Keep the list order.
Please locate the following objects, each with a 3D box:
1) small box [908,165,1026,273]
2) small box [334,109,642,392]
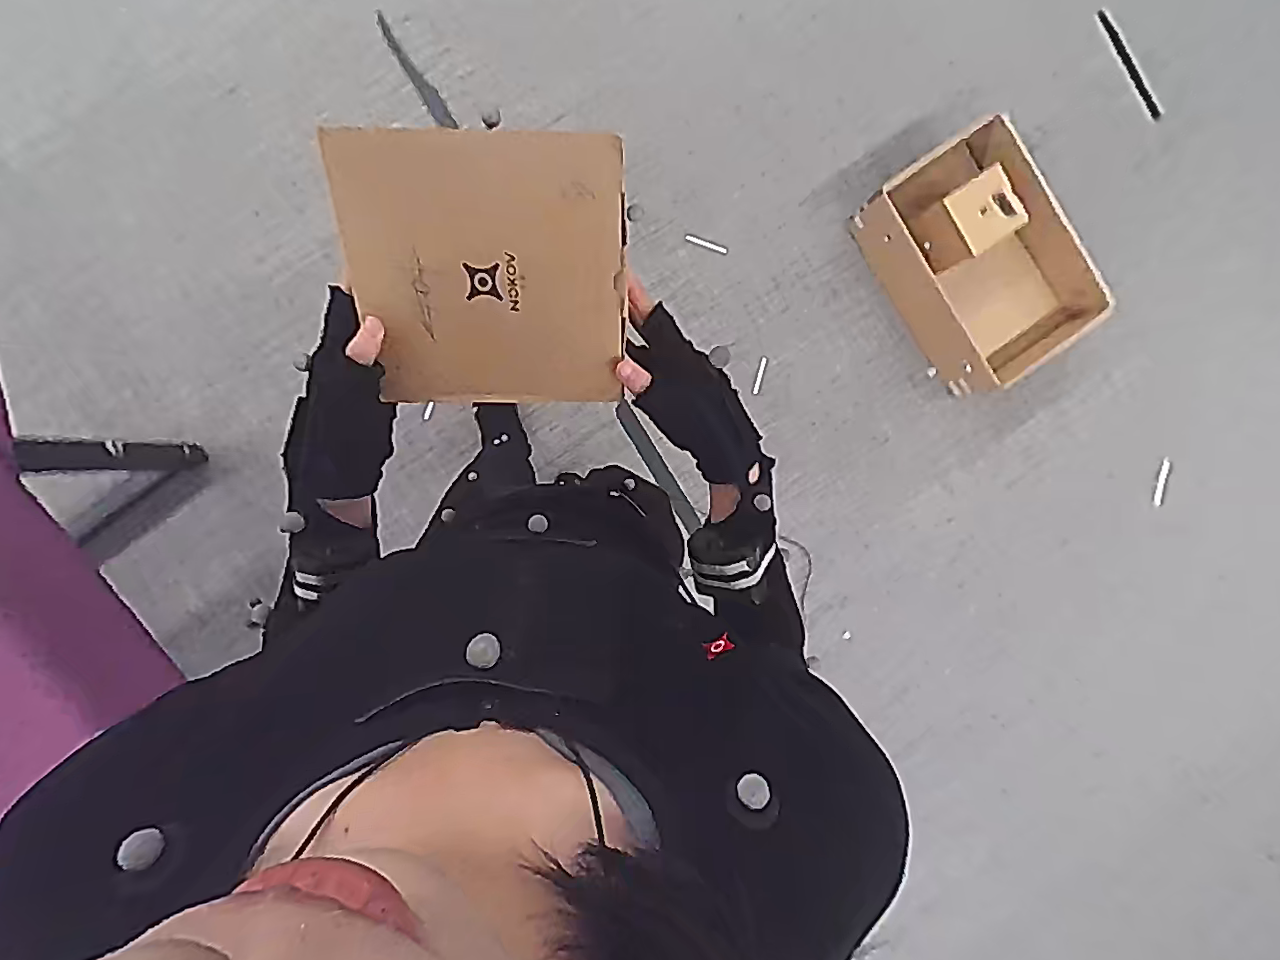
[{"bbox_3d":[0.867,-0.690,1.449,0.179,0.176,0.168,-35,95,-2],"label":"small box"},{"bbox_3d":[-0.091,-0.173,0.414,0.179,0.176,0.168,0,117,-2],"label":"small box"}]
